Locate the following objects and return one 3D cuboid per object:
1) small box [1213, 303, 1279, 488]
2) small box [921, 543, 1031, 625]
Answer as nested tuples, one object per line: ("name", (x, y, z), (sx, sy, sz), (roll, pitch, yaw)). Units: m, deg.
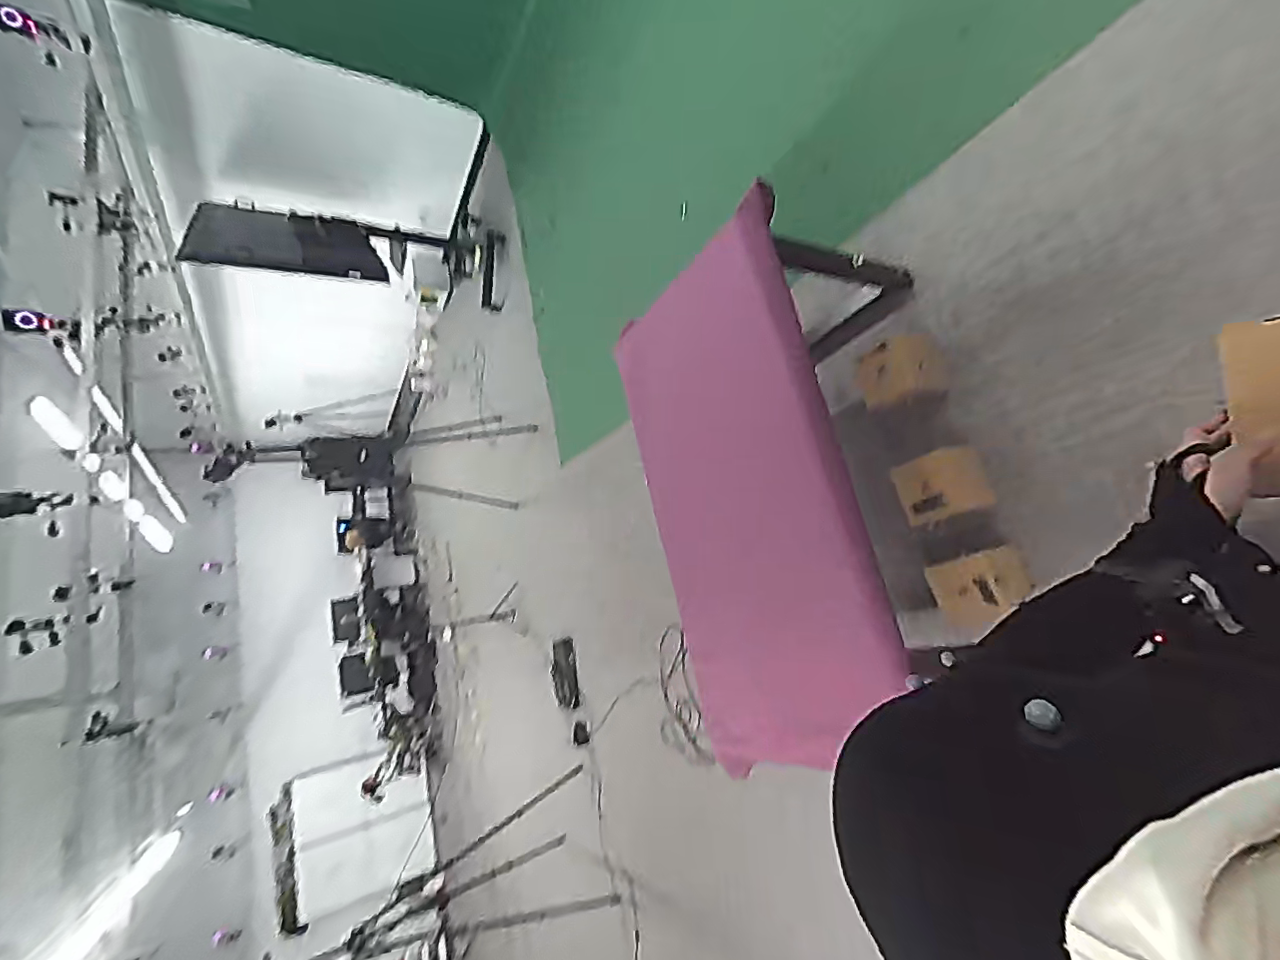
("small box", (0.698, -0.089, 0.525), (0.168, 0.176, 0.179), (-7, 87, 54))
("small box", (0.910, 0.277, 1.455), (0.179, 0.176, 0.168), (-41, 60, 52))
